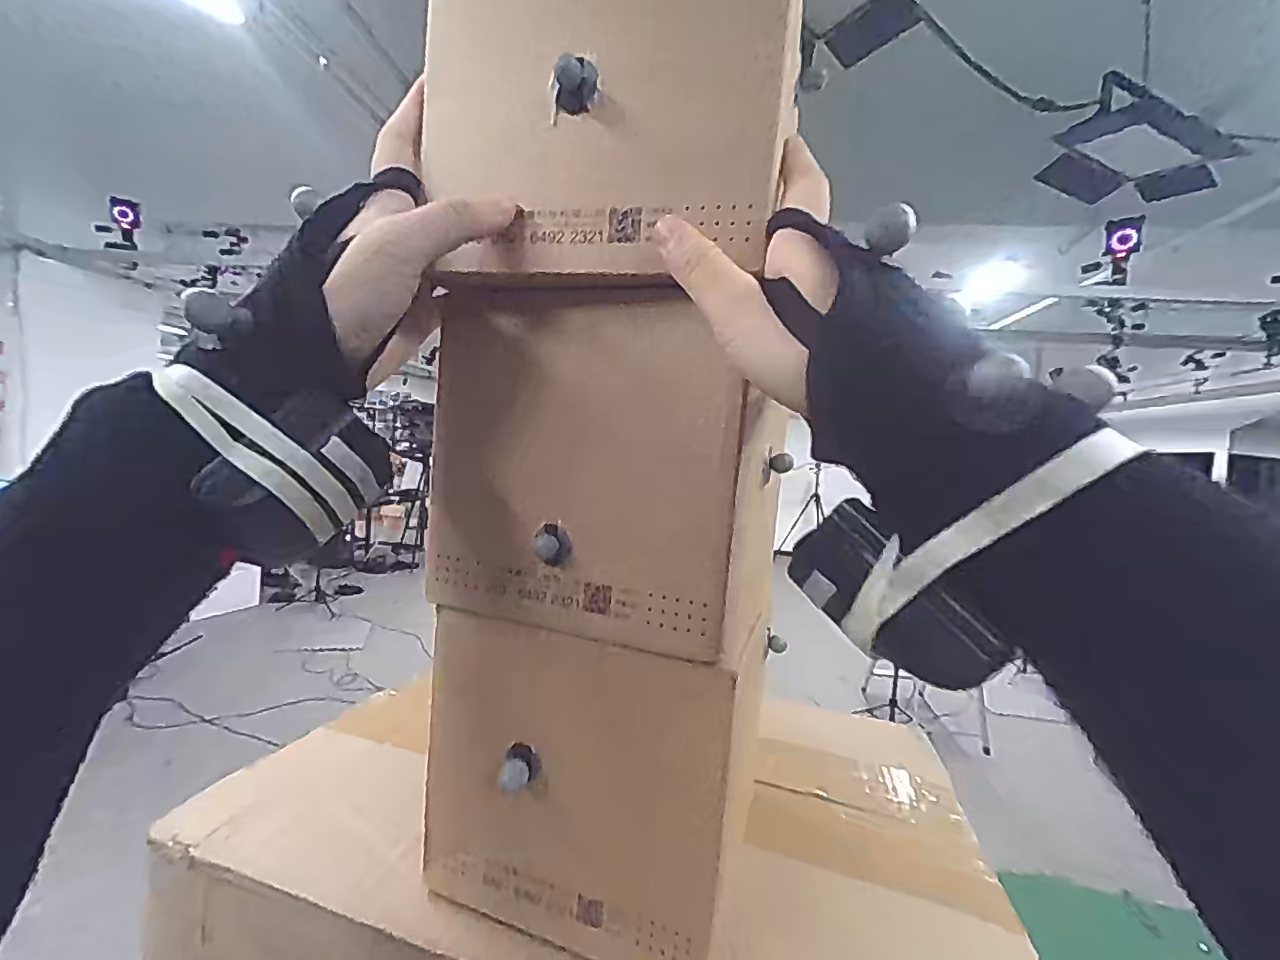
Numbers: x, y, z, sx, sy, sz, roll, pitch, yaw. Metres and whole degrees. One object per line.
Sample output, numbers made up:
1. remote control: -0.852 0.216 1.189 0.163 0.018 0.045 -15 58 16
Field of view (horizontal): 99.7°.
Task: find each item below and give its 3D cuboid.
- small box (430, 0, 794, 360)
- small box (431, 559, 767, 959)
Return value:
1. small box: -0.002 -0.167 0.316 0.168 0.176 0.179 7 4 15
2. small box: -0.015 0.159 0.356 0.168 0.176 0.179 7 4 19
